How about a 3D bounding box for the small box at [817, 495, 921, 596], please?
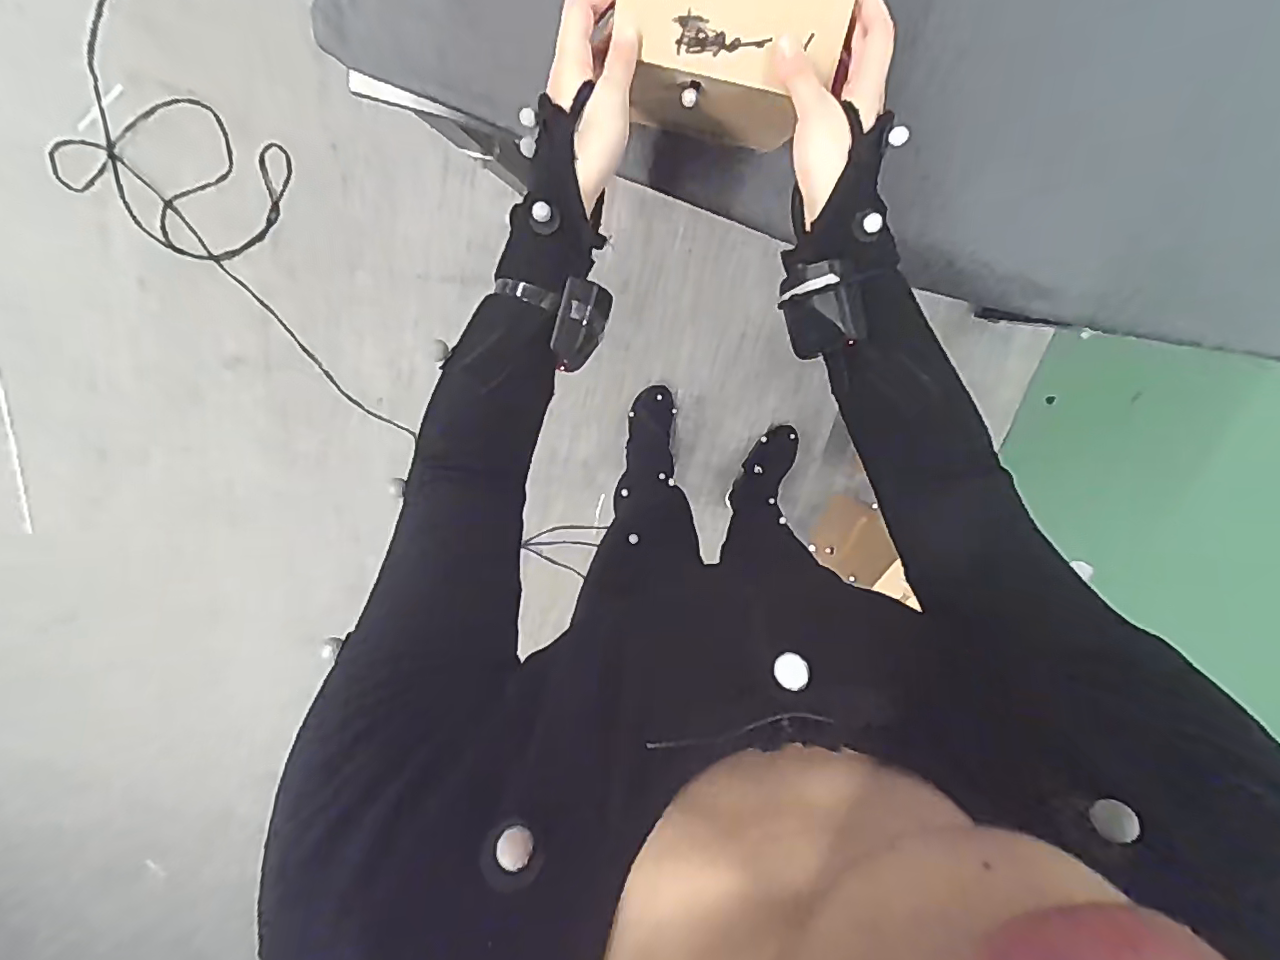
[{"bbox_3d":[0.586,0.166,1.414,0.168,0.176,0.179,21,109,-7],"label":"small box"}]
